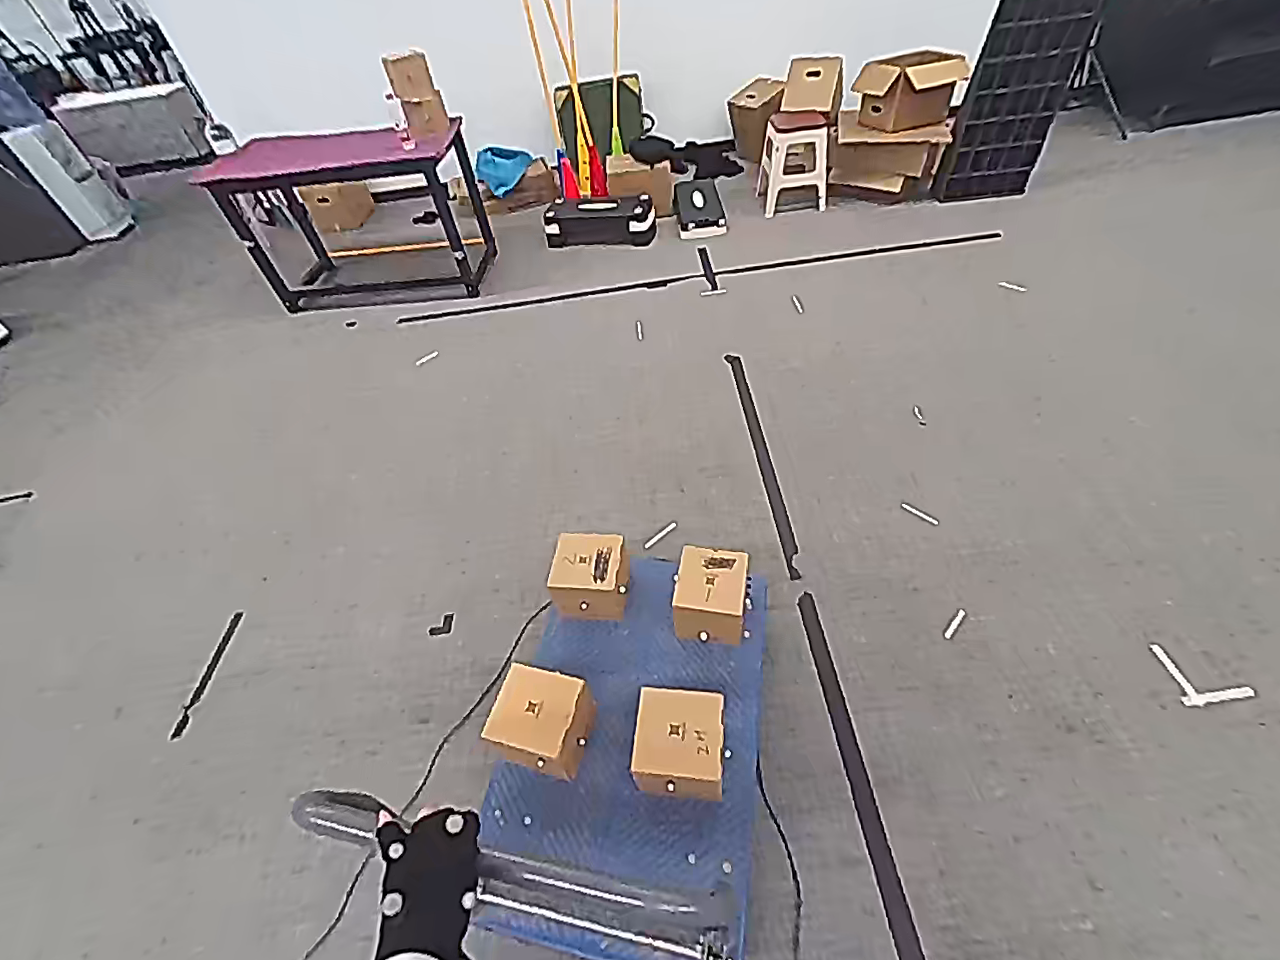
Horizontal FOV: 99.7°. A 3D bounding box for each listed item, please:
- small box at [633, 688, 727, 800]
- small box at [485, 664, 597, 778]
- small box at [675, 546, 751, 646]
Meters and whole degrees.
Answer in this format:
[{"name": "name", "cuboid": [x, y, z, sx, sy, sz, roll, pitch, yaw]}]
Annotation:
[{"name": "small box", "cuboid": [0.091, 0.557, 1.138, 0.179, 0.176, 0.168, 1, 48, 10]}, {"name": "small box", "cuboid": [-0.211, 0.538, 1.203, 0.179, 0.176, 0.168, 8, 49, 14]}, {"name": "small box", "cuboid": [0.185, 0.293, 1.367, 0.168, 0.176, 0.179, 5, 50, 13]}]
